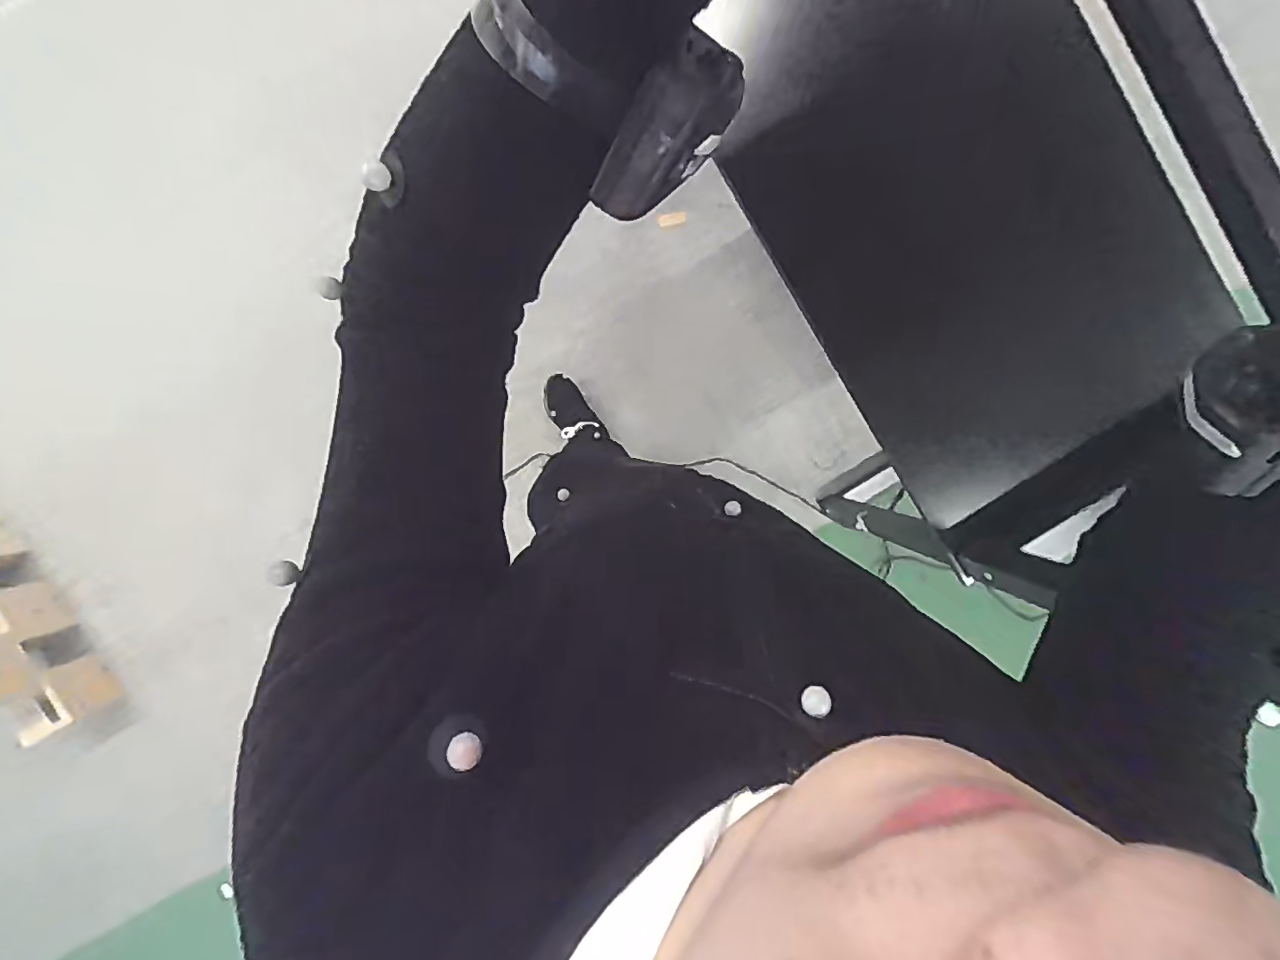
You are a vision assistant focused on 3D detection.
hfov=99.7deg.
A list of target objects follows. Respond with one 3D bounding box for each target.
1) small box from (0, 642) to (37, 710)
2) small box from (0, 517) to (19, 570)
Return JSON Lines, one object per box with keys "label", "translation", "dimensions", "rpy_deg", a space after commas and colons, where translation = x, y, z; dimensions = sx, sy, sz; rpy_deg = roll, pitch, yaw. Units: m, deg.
{"label": "small box", "translation": [-1.797, 0.554, 1.435], "dimensions": [0.168, 0.176, 0.179], "rpy_deg": [-29, 94, 3]}
{"label": "small box", "translation": [-2.000, 0.207, 1.581], "dimensions": [0.179, 0.176, 0.168], "rpy_deg": [-30, 93, 3]}
